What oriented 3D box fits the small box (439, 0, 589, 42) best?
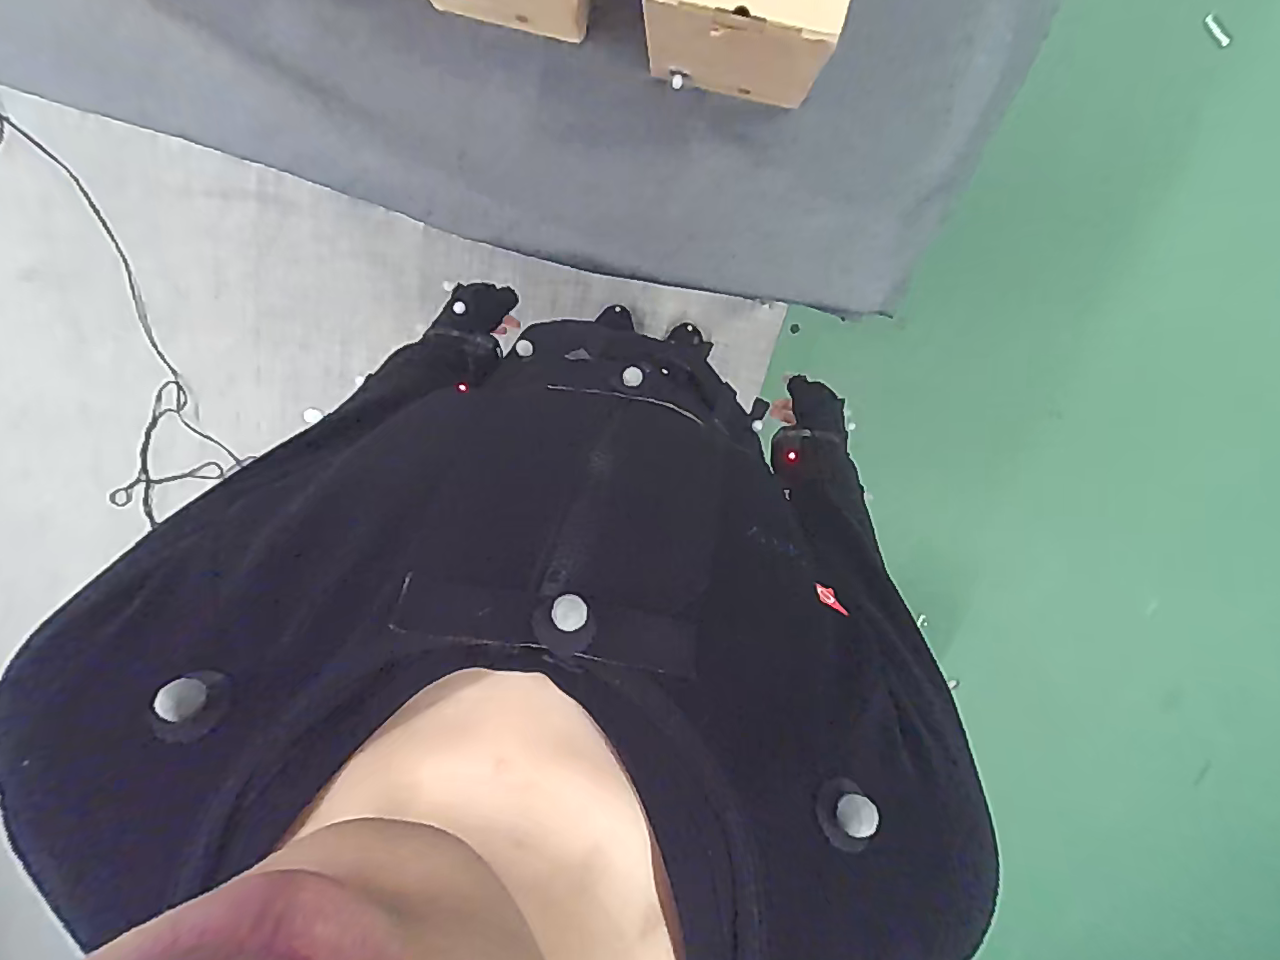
[{"bbox_3d":[-0.127,-0.535,0.476,0.168,0.176,0.179,13,108,-1],"label":"small box"}]
